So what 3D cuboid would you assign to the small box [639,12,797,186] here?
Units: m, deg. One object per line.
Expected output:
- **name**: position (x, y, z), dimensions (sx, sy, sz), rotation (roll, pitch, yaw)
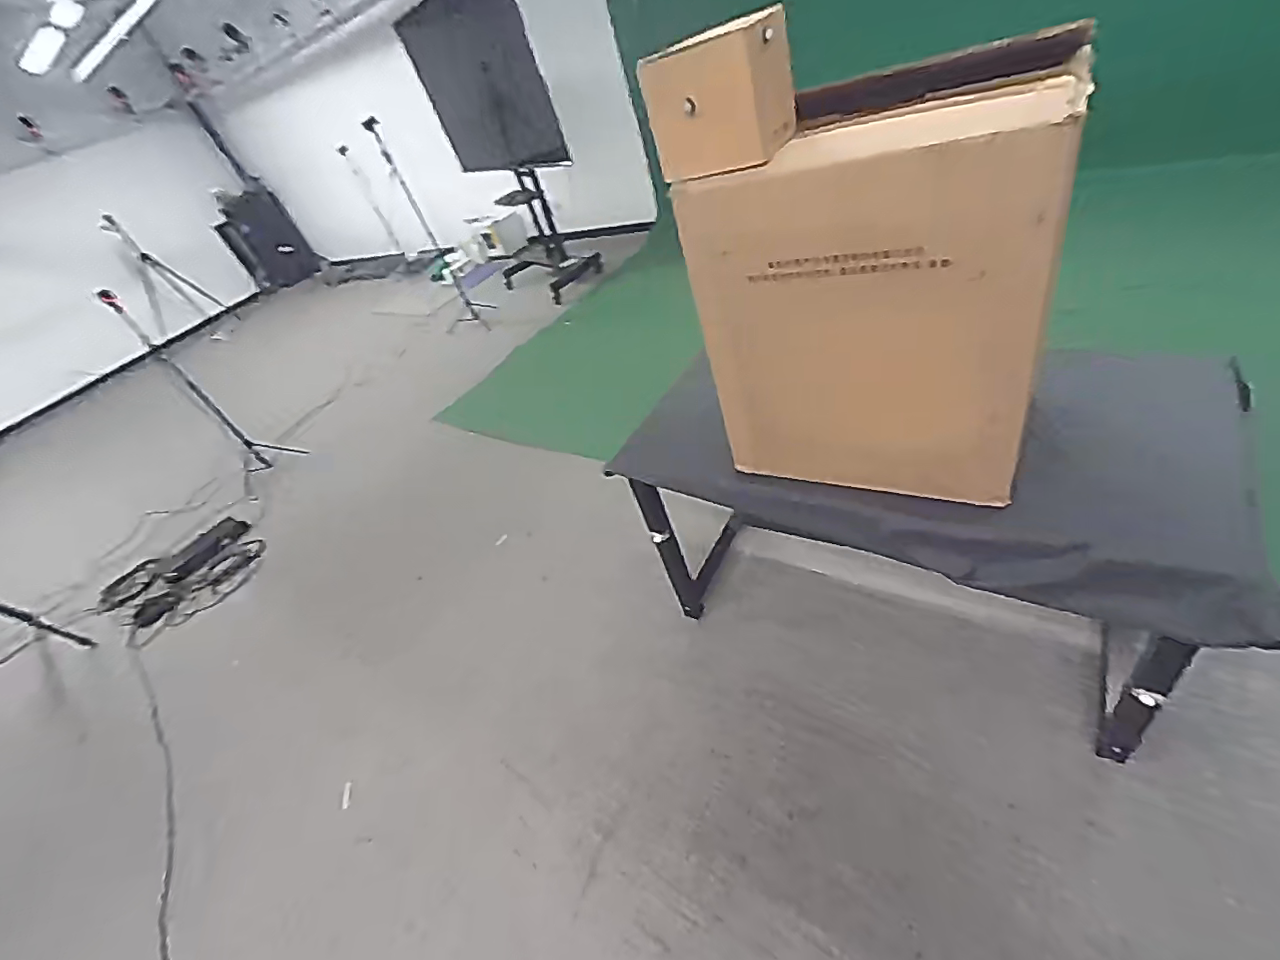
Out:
- **small box**: position (0.131, -0.589, 0.852), dimensions (0.179, 0.176, 0.168), rotation (7, 48, 34)
